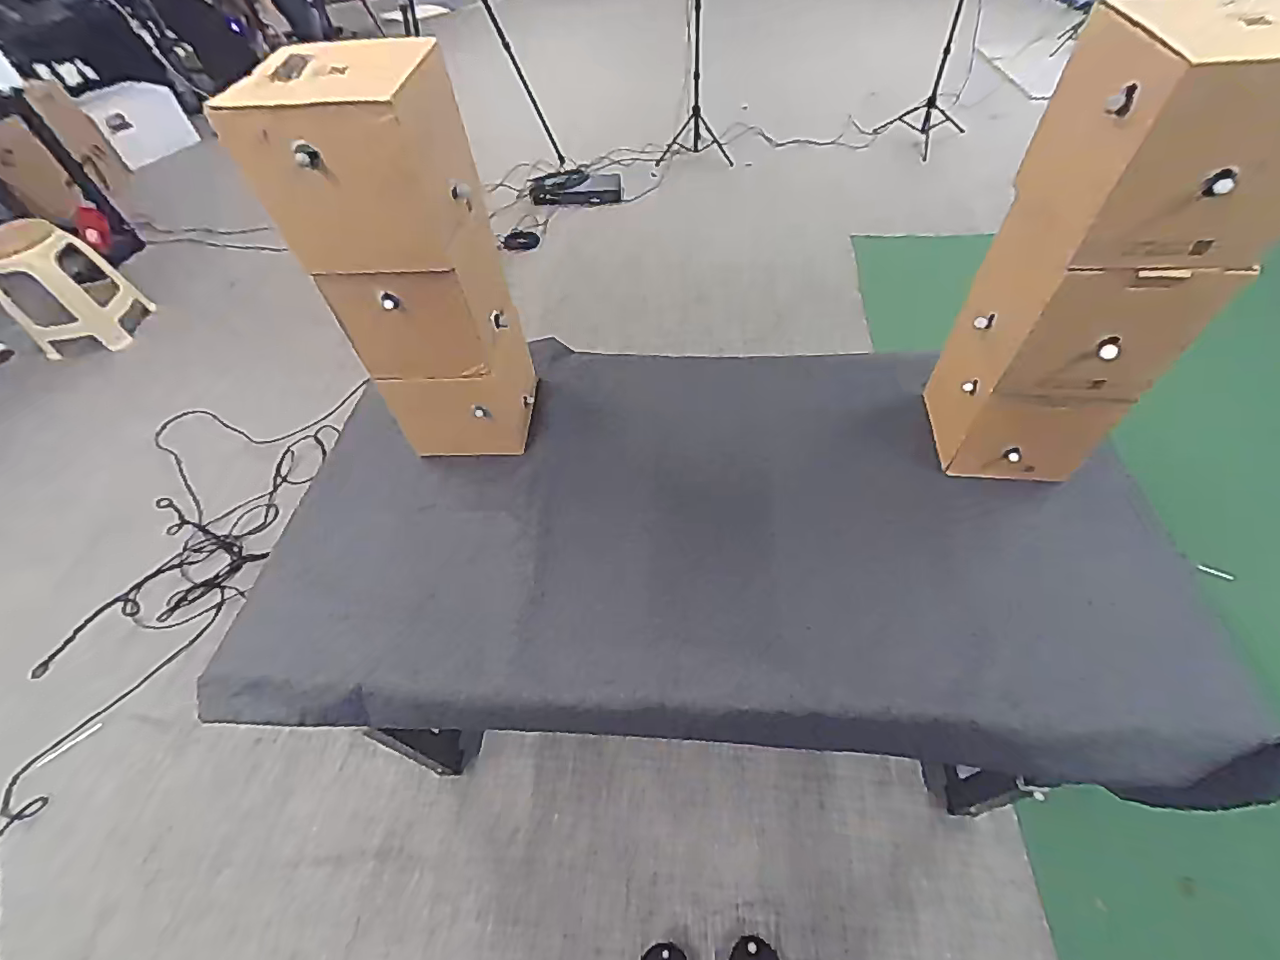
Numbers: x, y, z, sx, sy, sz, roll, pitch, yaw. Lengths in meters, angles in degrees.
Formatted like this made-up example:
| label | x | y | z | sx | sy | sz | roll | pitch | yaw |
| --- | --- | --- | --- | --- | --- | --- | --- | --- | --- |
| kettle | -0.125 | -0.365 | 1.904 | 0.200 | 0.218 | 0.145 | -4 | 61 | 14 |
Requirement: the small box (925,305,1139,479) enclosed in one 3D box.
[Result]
| label | x | y | z | sx | sy | sz | roll | pitch | yaw |
| --- | --- | --- | --- | --- | --- | --- | --- | --- | --- |
| small box | 0.525 | -0.124 | 0.760 | 0.168 | 0.176 | 0.179 | 3 | 54 | 8 |

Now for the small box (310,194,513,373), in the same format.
| label | x | y | z | sx | sy | sz | roll | pitch | yaw |
| --- | --- | --- | --- | --- | --- | --- | --- | --- | --- |
| small box | -0.285 | -0.257 | 0.722 | 0.179 | 0.176 | 0.168 | -1 | 55 | 2 |

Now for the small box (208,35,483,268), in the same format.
| label | x | y | z | sx | sy | sz | roll | pitch | yaw |
| --- | --- | --- | --- | --- | --- | --- | --- | --- | --- |
| small box | -0.292 | -0.348 | 0.584 | 0.179 | 0.176 | 0.168 | 1 | 55 | 4 |

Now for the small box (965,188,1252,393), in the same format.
| label | x | y | z | sx | sy | sz | roll | pitch | yaw |
| --- | --- | --- | --- | --- | --- | --- | --- | --- | --- |
| small box | 0.510 | -0.218 | 0.627 | 0.168 | 0.176 | 0.179 | 4 | 55 | 8 |

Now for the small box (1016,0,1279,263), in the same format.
| label | x | y | z | sx | sy | sz | roll | pitch | yaw |
| --- | --- | --- | --- | --- | --- | --- | --- | --- | --- |
| small box | 0.491 | -0.318 | 0.496 | 0.168 | 0.176 | 0.179 | 3 | 54 | 6 |
